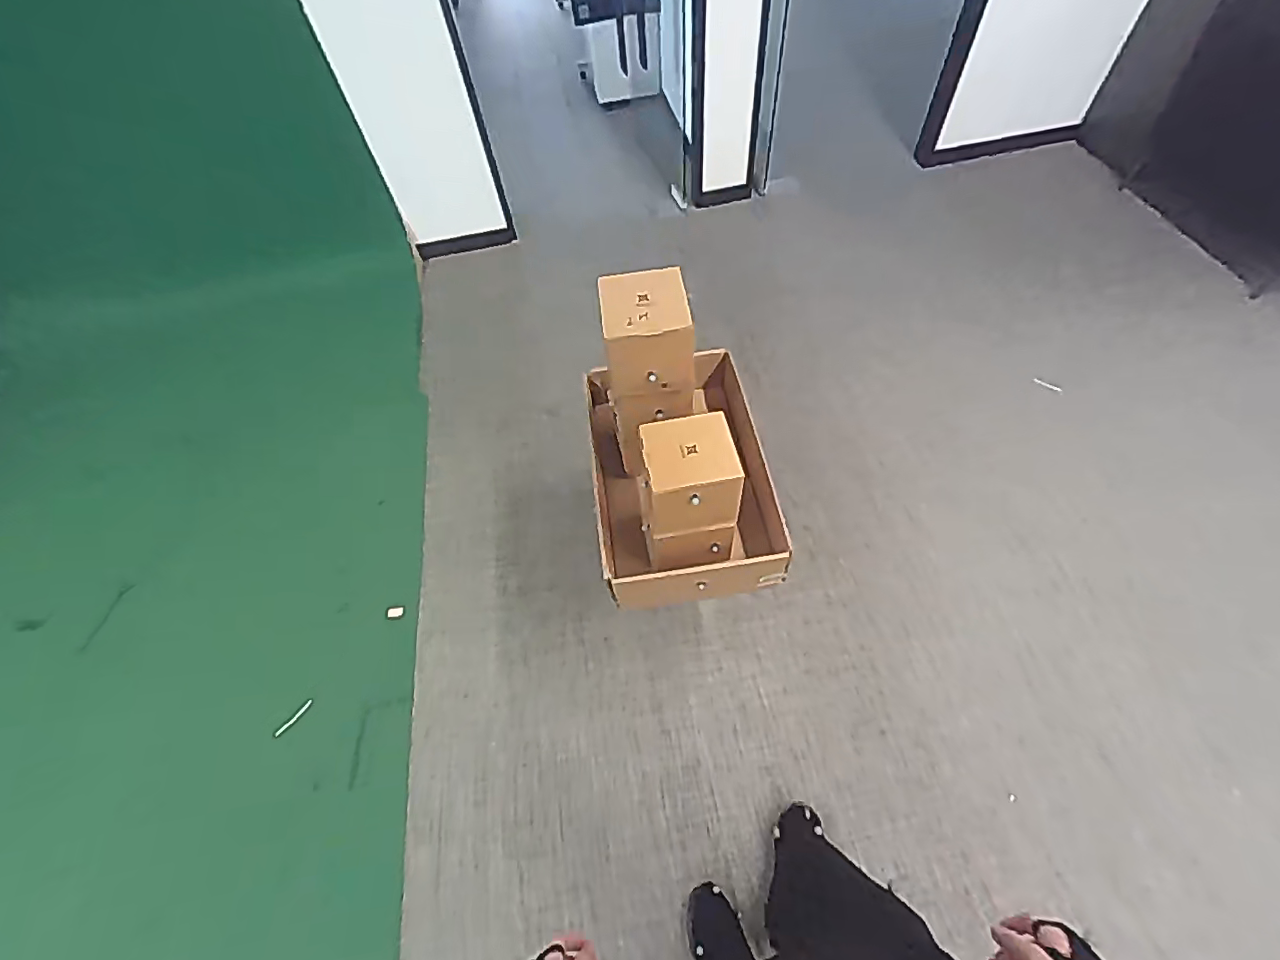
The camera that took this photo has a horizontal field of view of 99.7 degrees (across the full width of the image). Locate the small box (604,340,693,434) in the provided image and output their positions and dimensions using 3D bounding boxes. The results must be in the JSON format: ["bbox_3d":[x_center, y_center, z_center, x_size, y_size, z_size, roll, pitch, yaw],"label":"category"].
[{"bbox_3d":[0.022,-0.221,1.230,0.168,0.176,0.179,-14,59,-4],"label":"small box"}]

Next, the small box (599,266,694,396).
[{"bbox_3d":[0.013,-0.294,1.080,0.168,0.176,0.179,-8,59,1],"label":"small box"}]

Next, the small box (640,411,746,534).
[{"bbox_3d":[0.103,-0.011,1.089,0.179,0.176,0.168,-11,56,-1],"label":"small box"}]
